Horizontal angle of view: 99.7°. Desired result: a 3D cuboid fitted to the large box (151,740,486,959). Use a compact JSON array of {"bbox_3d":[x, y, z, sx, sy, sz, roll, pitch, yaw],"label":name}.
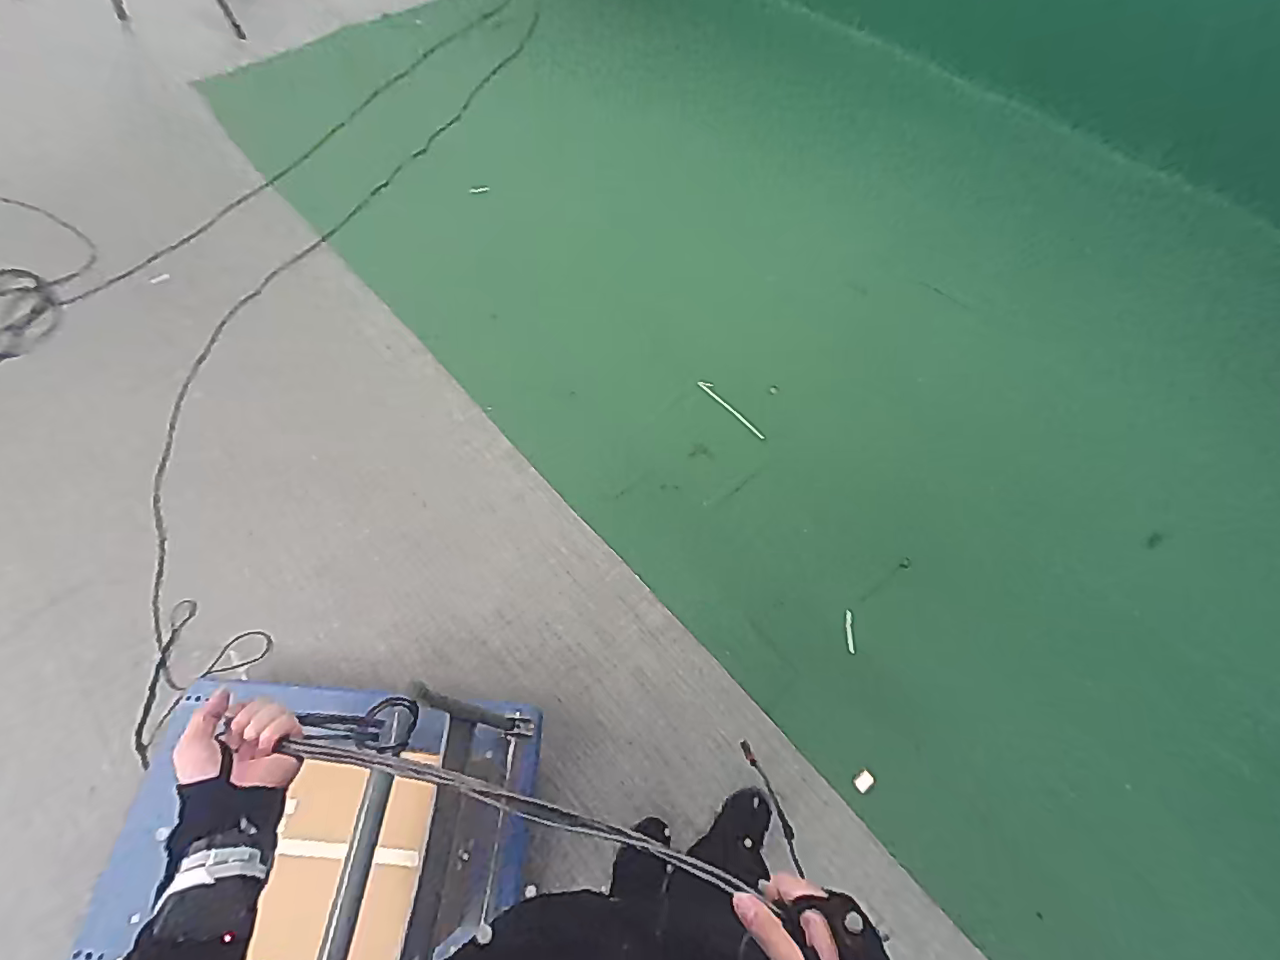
[{"bbox_3d":[-0.551,0.687,1.032,0.408,0.320,0.320,3,61,3],"label":"large box"}]
